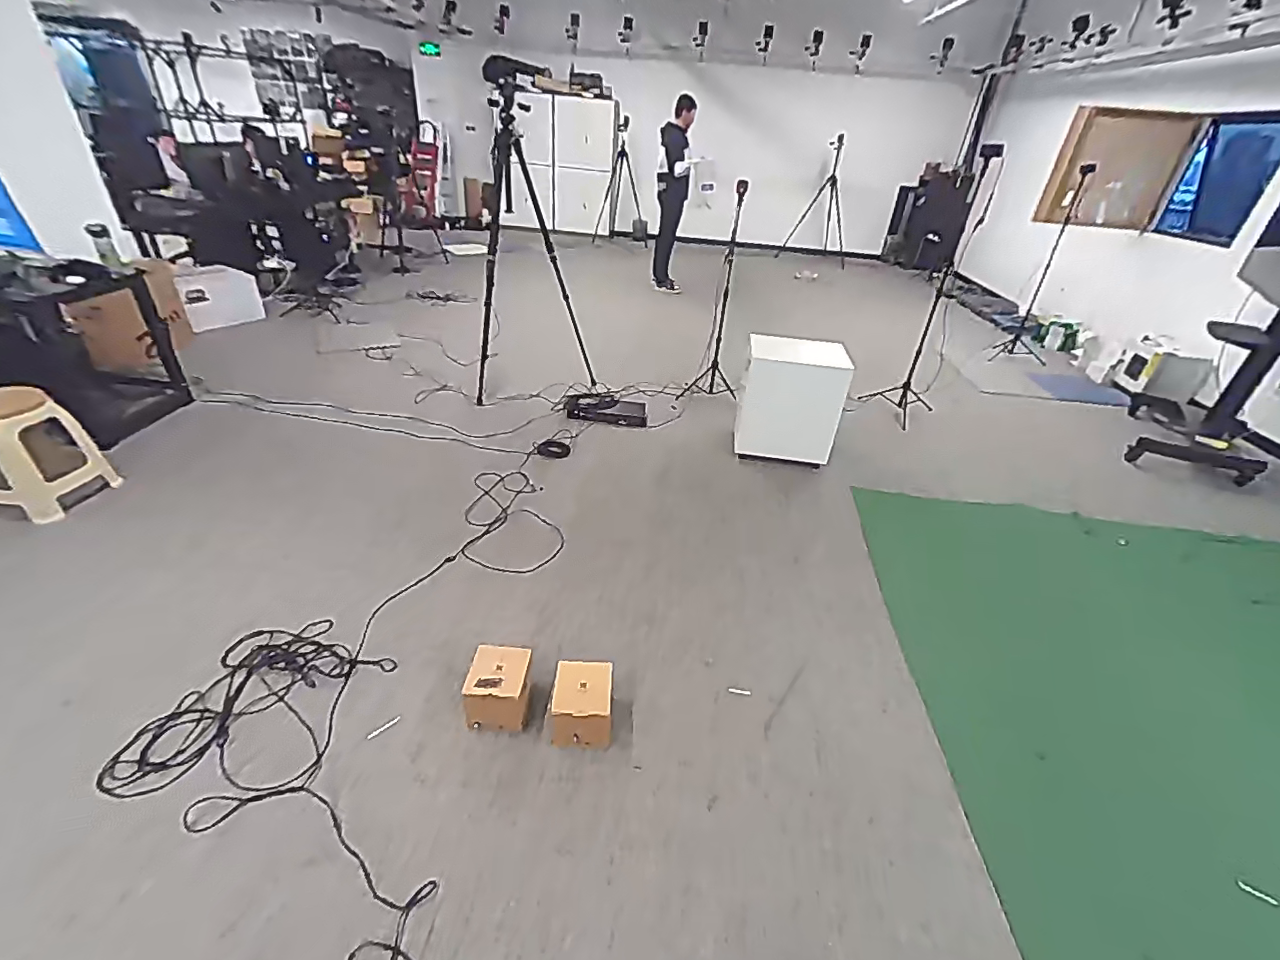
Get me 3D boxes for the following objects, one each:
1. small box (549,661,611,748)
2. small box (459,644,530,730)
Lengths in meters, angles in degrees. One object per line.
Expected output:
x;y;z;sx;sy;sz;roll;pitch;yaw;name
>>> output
-0.176;0.662;1.598;0.168;0.176;0.179;3;34;-2;small box
-0.427;0.623;1.622;0.168;0.176;0.179;5;32;0;small box
